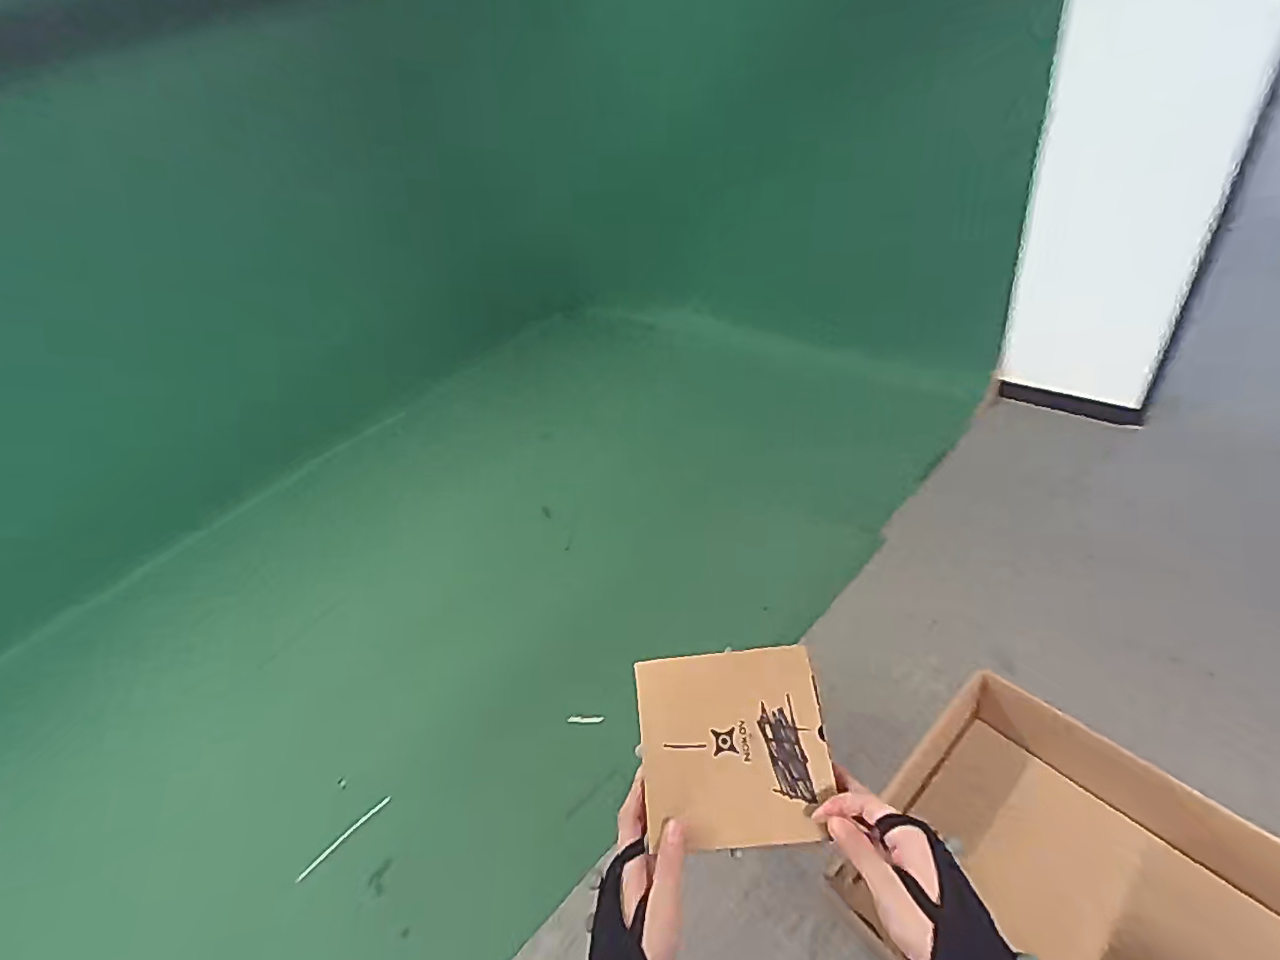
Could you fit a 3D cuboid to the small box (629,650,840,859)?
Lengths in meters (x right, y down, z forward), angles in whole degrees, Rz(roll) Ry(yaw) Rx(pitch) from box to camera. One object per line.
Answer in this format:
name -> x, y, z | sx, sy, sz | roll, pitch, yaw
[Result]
small box -> 0.089, 0.288, 0.575 | 0.179, 0.176, 0.168 | -8, 60, 3
